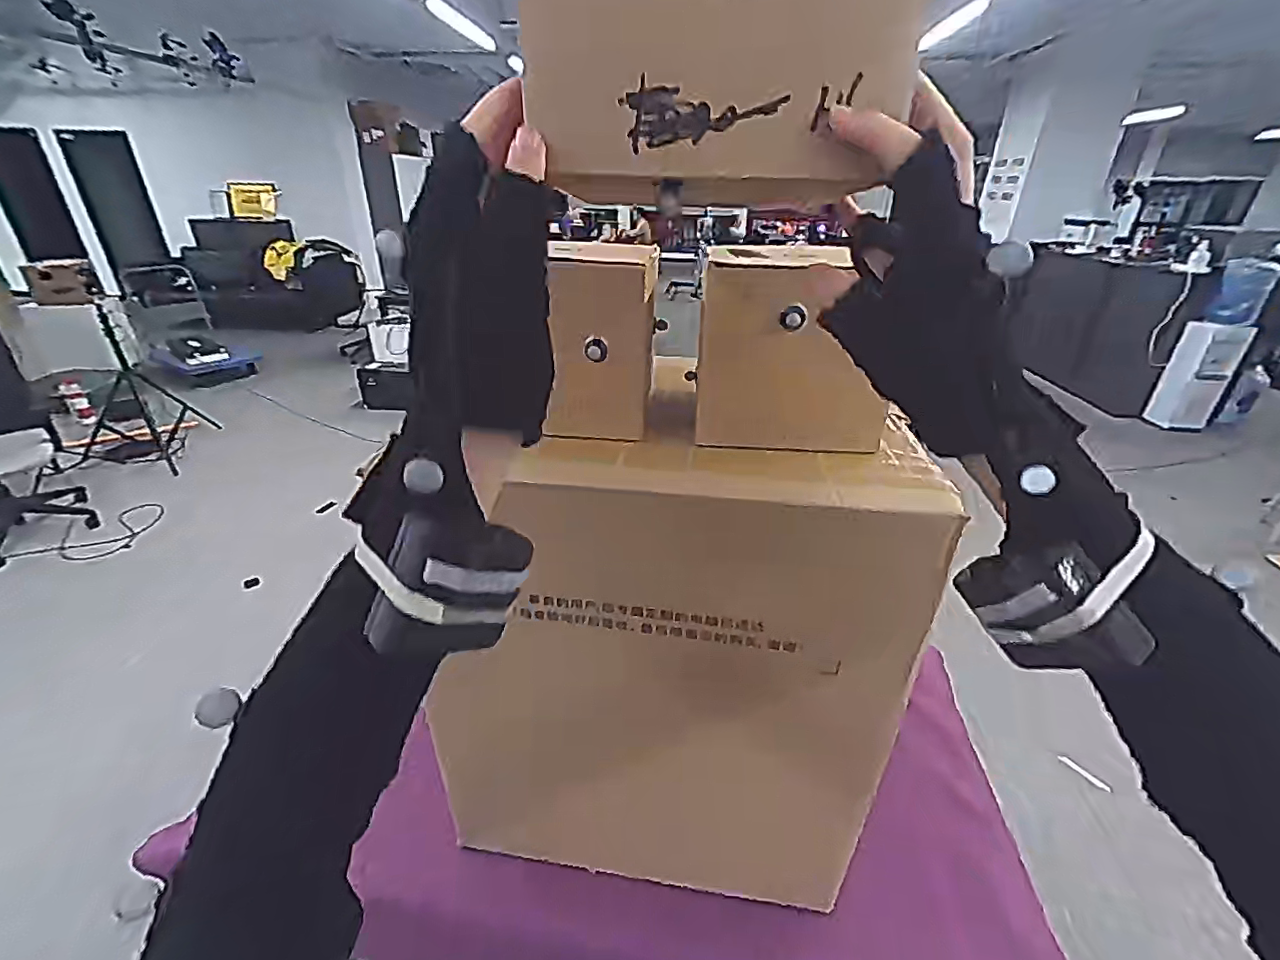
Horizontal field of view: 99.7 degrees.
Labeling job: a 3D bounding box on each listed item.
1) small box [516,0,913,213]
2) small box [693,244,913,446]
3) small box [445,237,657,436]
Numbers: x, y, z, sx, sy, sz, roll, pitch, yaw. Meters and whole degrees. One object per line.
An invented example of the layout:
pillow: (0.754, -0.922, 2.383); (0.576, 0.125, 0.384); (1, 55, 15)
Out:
small box: (0.034, -0.252, 0.287); (0.168, 0.179, 0.176); (2, 21, 2)
small box: (0.145, -0.142, 0.551); (0.179, 0.176, 0.168); (3, 28, 4)
small box: (-0.078, -0.154, 0.568); (0.179, 0.176, 0.168); (3, 27, 4)
